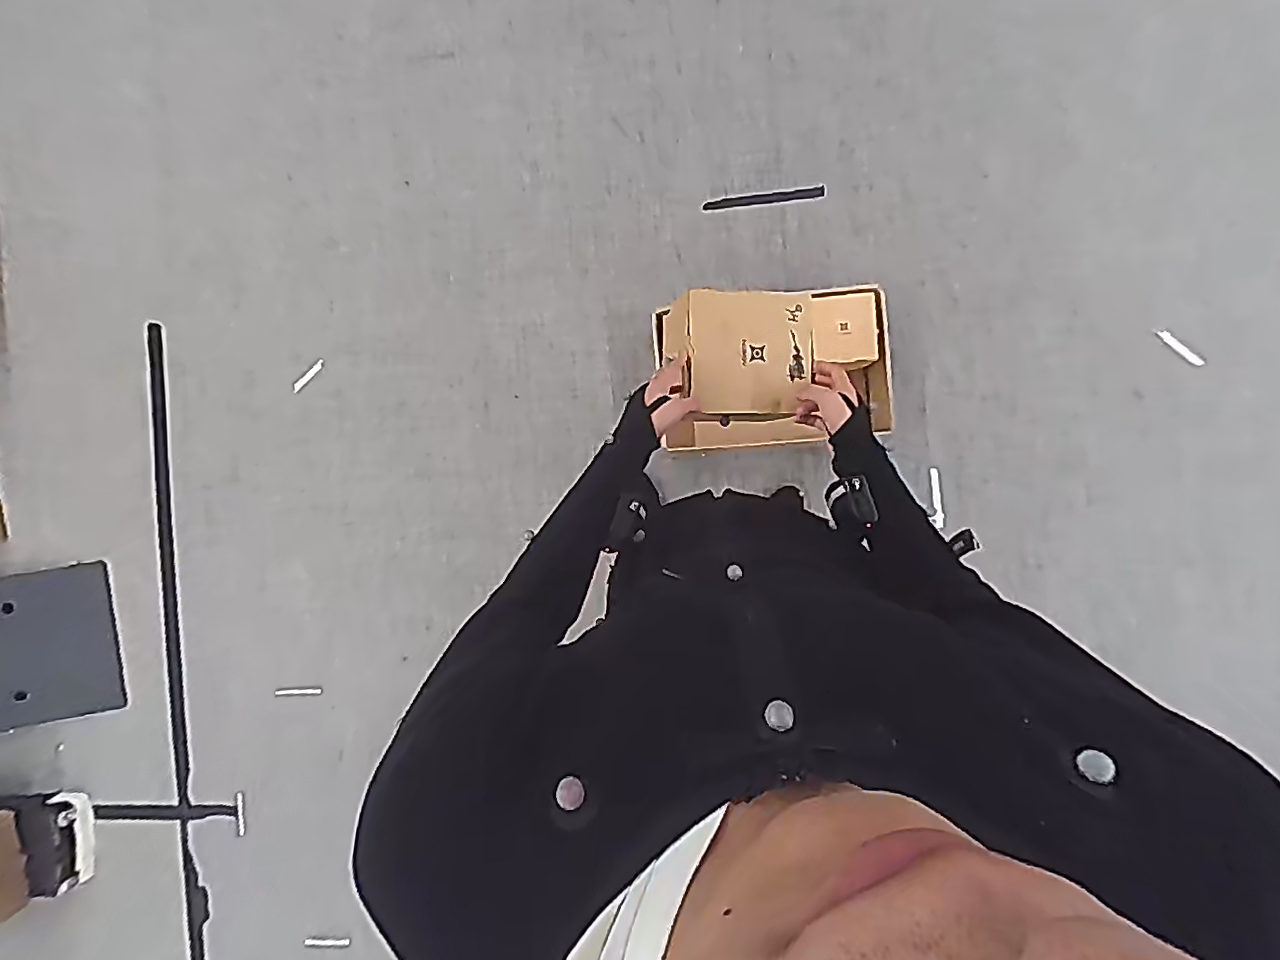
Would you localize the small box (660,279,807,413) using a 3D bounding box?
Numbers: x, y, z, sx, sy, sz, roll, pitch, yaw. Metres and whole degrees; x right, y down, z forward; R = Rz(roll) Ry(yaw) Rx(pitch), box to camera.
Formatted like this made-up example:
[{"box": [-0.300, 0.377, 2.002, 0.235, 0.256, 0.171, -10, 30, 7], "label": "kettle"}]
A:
[{"box": [0.126, -0.185, 0.792, 0.179, 0.176, 0.168, -1, 94, -9], "label": "small box"}]
